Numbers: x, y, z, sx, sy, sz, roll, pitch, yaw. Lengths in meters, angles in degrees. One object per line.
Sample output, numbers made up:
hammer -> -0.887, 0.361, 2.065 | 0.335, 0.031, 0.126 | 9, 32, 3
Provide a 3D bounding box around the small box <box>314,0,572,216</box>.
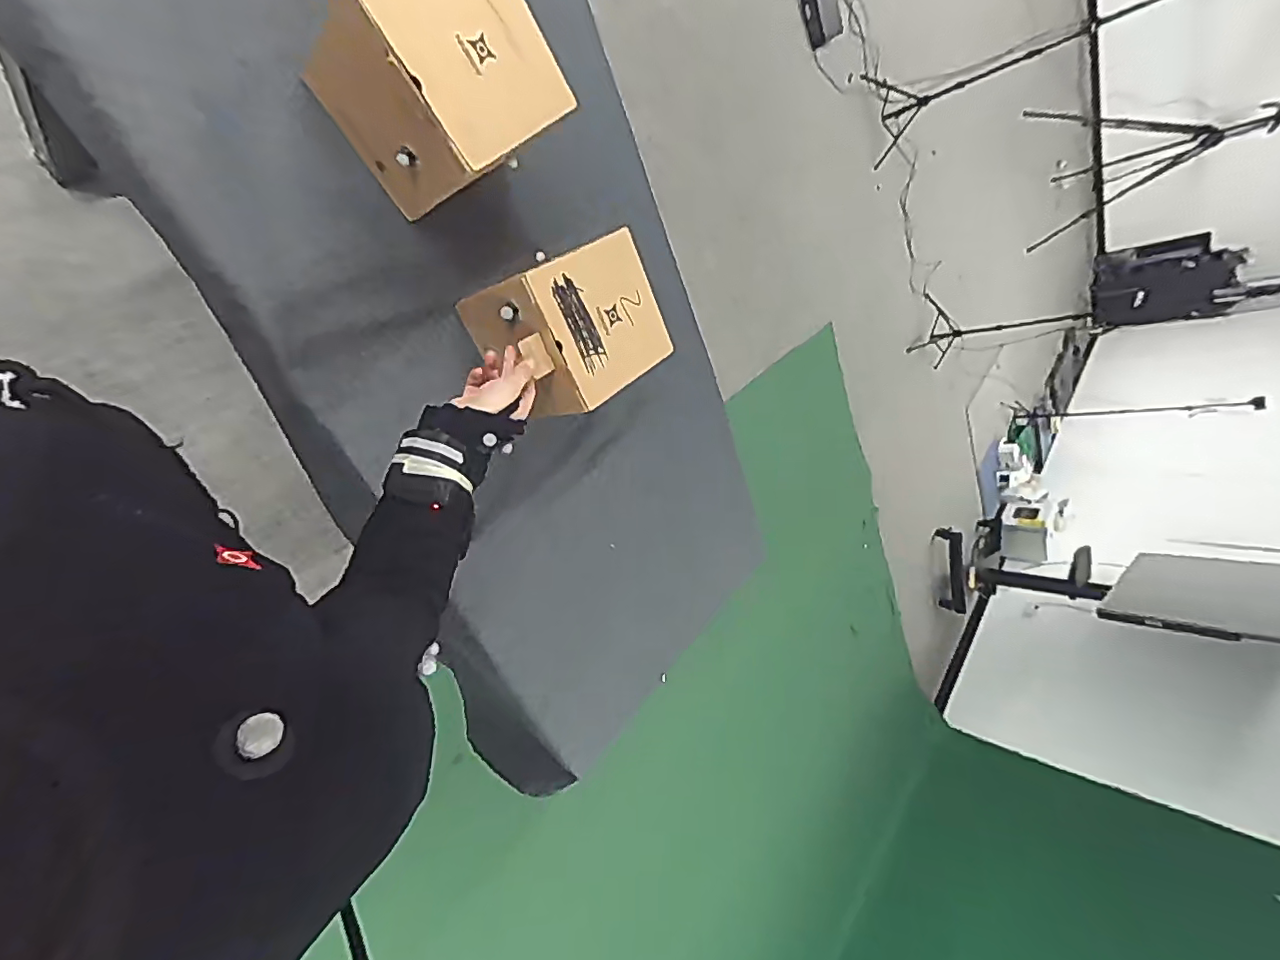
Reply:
small box -> -0.215, -0.418, 0.583 | 0.179, 0.176, 0.168 | -53, 127, -28
